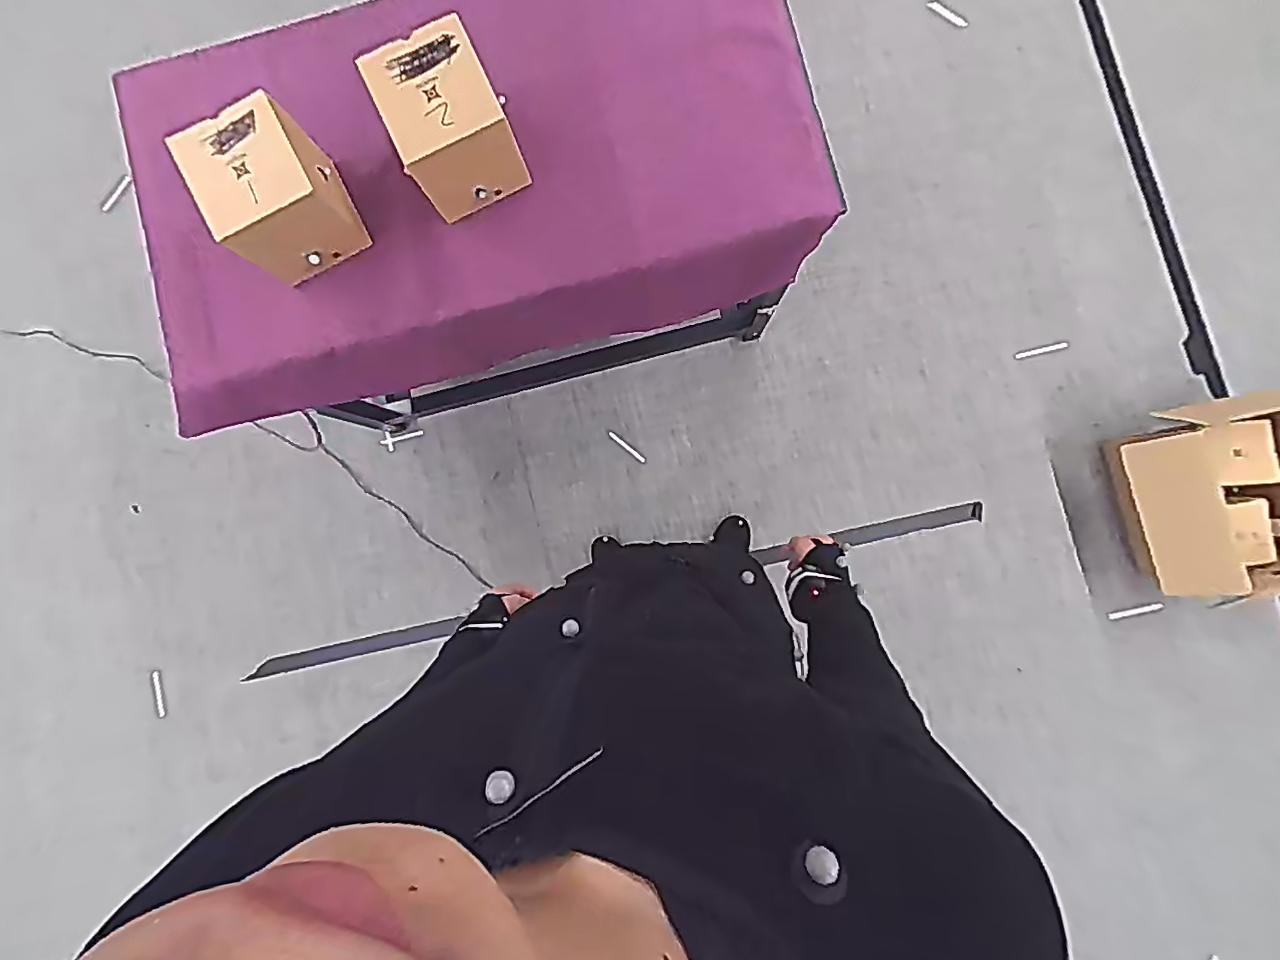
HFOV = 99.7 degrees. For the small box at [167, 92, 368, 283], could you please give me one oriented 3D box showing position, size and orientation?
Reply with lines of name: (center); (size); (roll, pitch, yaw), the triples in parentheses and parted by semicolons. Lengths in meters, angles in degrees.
small box: (-0.581, -0.454, 0.866); (0.168, 0.176, 0.179); (-28, 87, 1)
